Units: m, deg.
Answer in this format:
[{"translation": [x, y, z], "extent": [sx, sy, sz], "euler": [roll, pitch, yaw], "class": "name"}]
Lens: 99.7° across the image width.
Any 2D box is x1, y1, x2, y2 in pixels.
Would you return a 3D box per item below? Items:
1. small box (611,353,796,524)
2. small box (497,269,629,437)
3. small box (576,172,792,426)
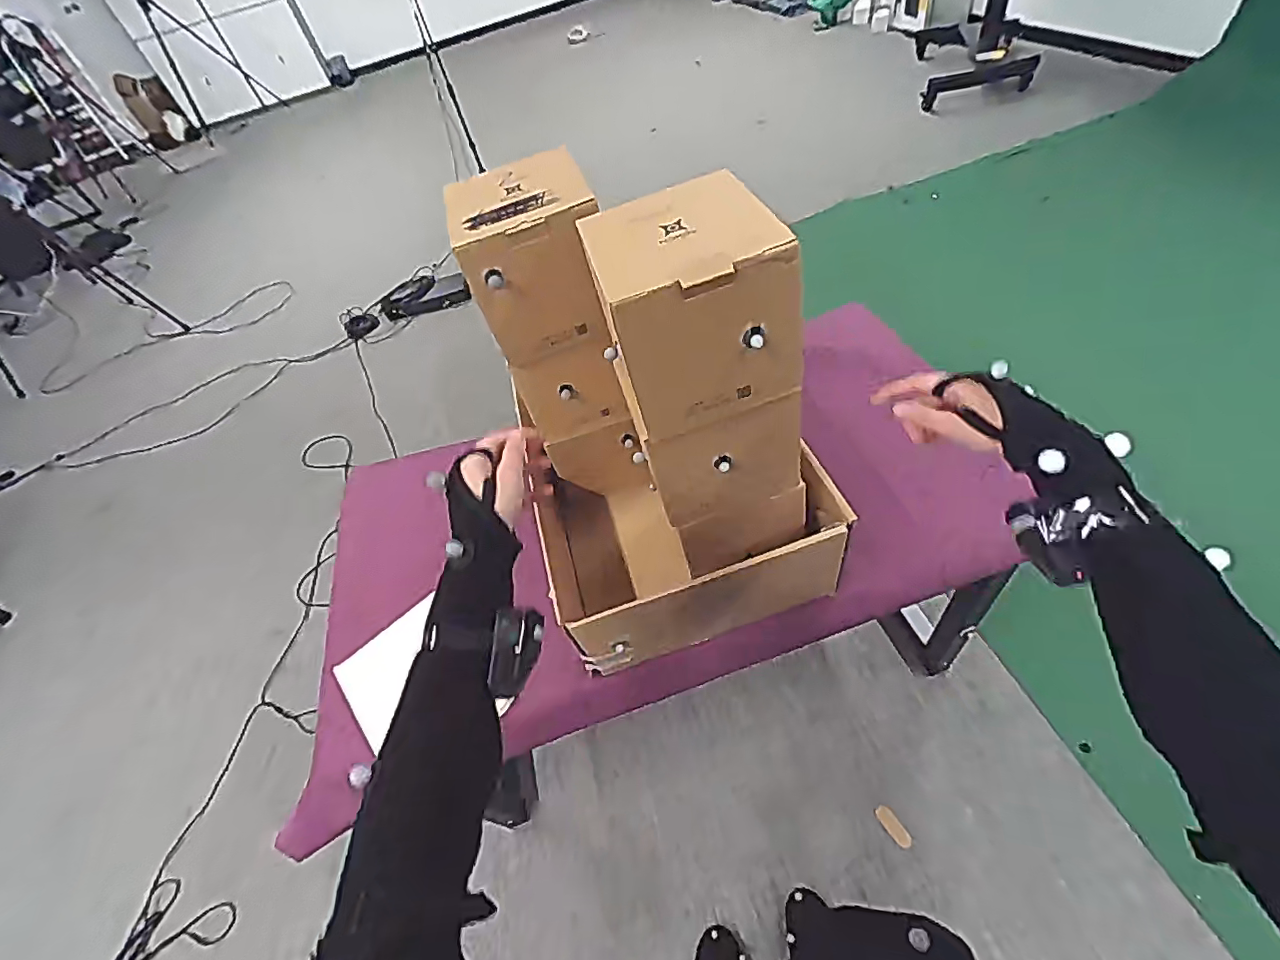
[{"translation": [0.081, -0.073, 0.677], "extent": [0.179, 0.176, 0.168], "euler": [-19, 48, 1], "class": "small box"}, {"translation": [-0.104, -0.187, 0.827], "extent": [0.168, 0.176, 0.179], "euler": [-18, 51, 0], "class": "small box"}, {"translation": [0.048, -0.176, 0.554], "extent": [0.168, 0.176, 0.179], "euler": [-18, 47, 1], "class": "small box"}]
